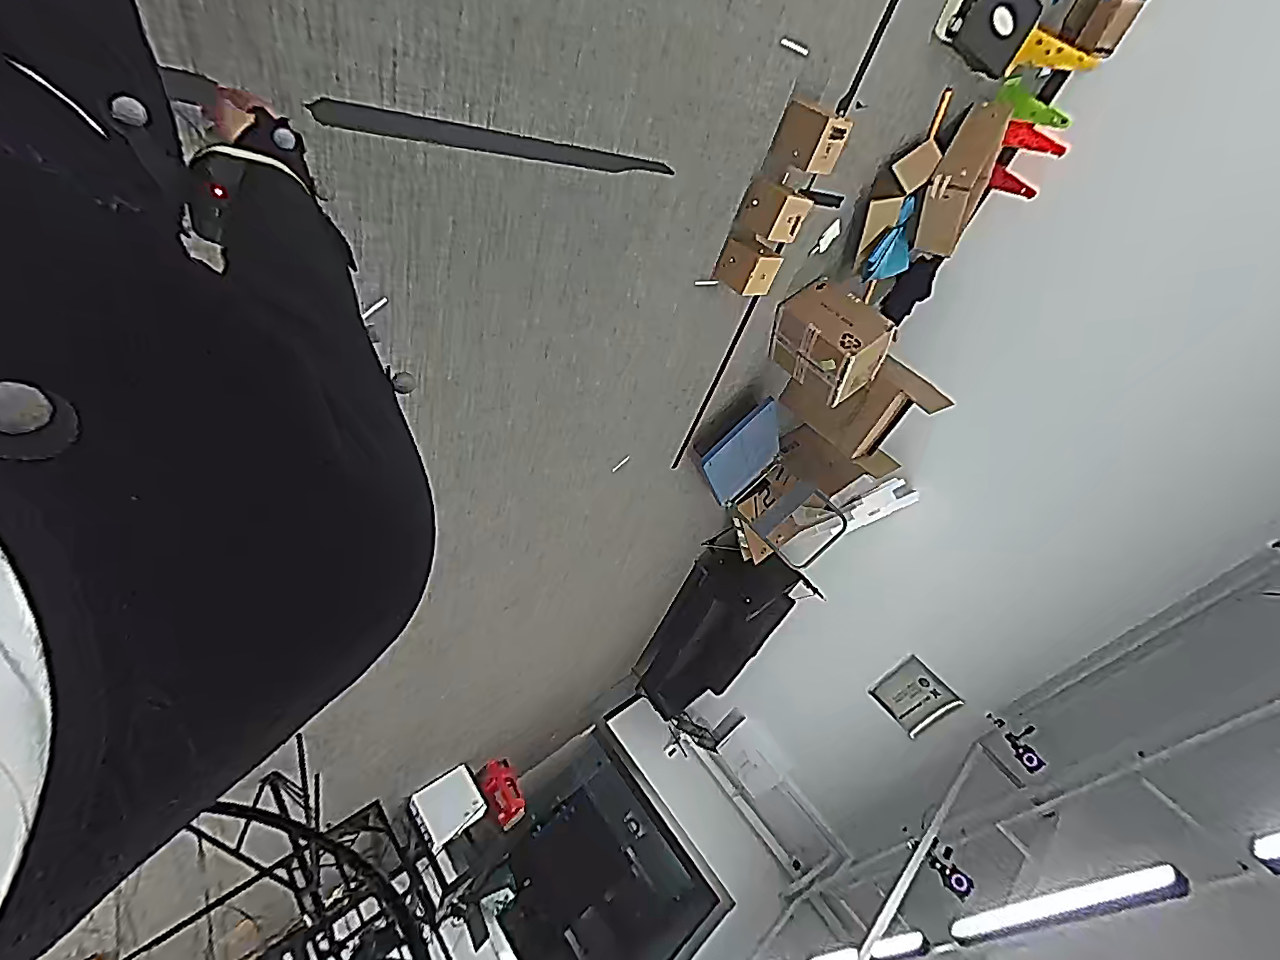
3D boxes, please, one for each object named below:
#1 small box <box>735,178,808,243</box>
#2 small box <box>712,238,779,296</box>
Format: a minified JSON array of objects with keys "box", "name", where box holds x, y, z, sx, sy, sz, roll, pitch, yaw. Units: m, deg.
[{"box":[0.501,-1.035,2.077,0.179,0.176,0.168,-17,145,-42],"name":"small box"},{"box":[0.431,-0.878,2.225,0.179,0.176,0.168,-19,146,-41],"name":"small box"}]
